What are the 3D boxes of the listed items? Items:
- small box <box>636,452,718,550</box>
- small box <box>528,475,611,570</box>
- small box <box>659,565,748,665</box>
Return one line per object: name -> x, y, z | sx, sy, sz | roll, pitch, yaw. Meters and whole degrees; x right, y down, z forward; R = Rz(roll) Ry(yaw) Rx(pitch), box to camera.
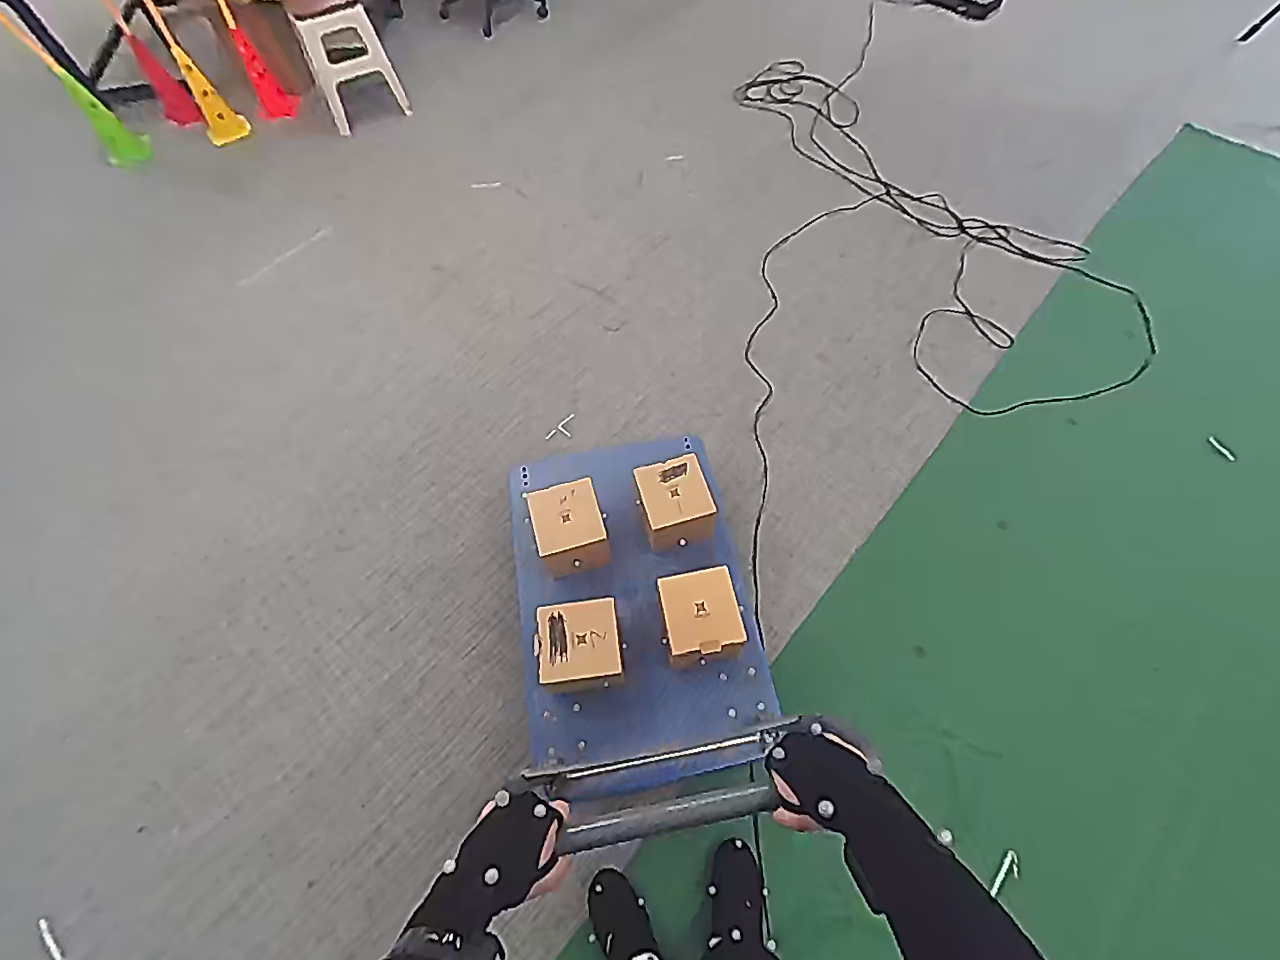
small box -> 0.090, 0.058, 1.396 | 0.168, 0.176, 0.179 | -15, 64, -5
small box -> -0.174, 0.117, 1.373 | 0.168, 0.176, 0.179 | -14, 63, -7
small box -> 0.139, 0.318, 1.260 | 0.168, 0.176, 0.179 | -10, 63, -4
